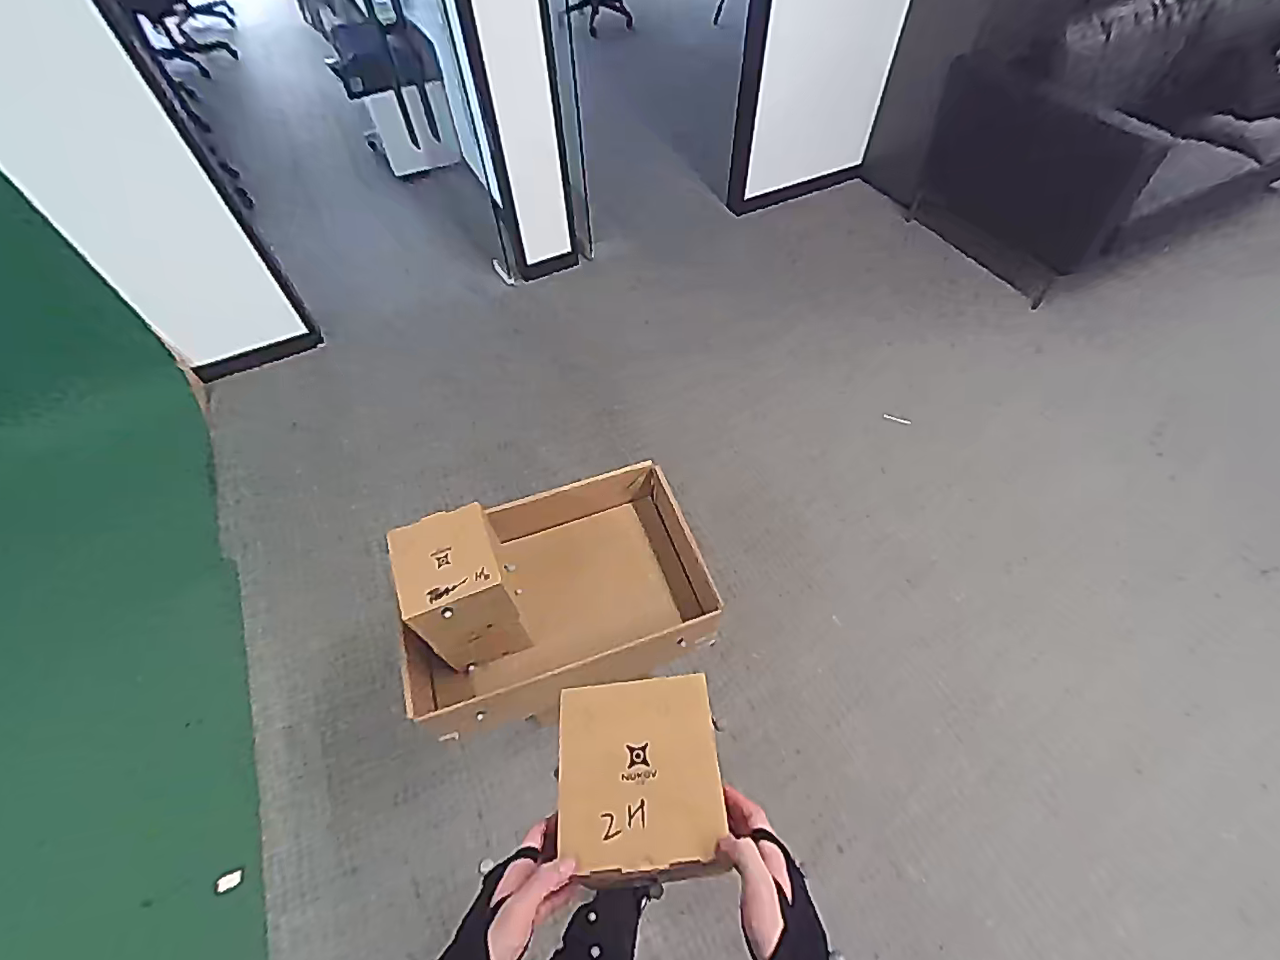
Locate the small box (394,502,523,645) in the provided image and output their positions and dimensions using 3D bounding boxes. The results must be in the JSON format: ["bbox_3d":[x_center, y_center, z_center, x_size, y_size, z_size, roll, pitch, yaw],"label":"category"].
[{"bbox_3d":[-0.330,0.175,0.998,0.168,0.176,0.179,-21,58,-10],"label":"small box"}]

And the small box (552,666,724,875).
[{"bbox_3d":[0.003,0.339,0.628,0.168,0.176,0.179,-8,50,5],"label":"small box"}]

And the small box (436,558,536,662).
[{"bbox_3d":[-0.329,0.265,1.135,0.168,0.176,0.179,-18,57,-10],"label":"small box"}]
